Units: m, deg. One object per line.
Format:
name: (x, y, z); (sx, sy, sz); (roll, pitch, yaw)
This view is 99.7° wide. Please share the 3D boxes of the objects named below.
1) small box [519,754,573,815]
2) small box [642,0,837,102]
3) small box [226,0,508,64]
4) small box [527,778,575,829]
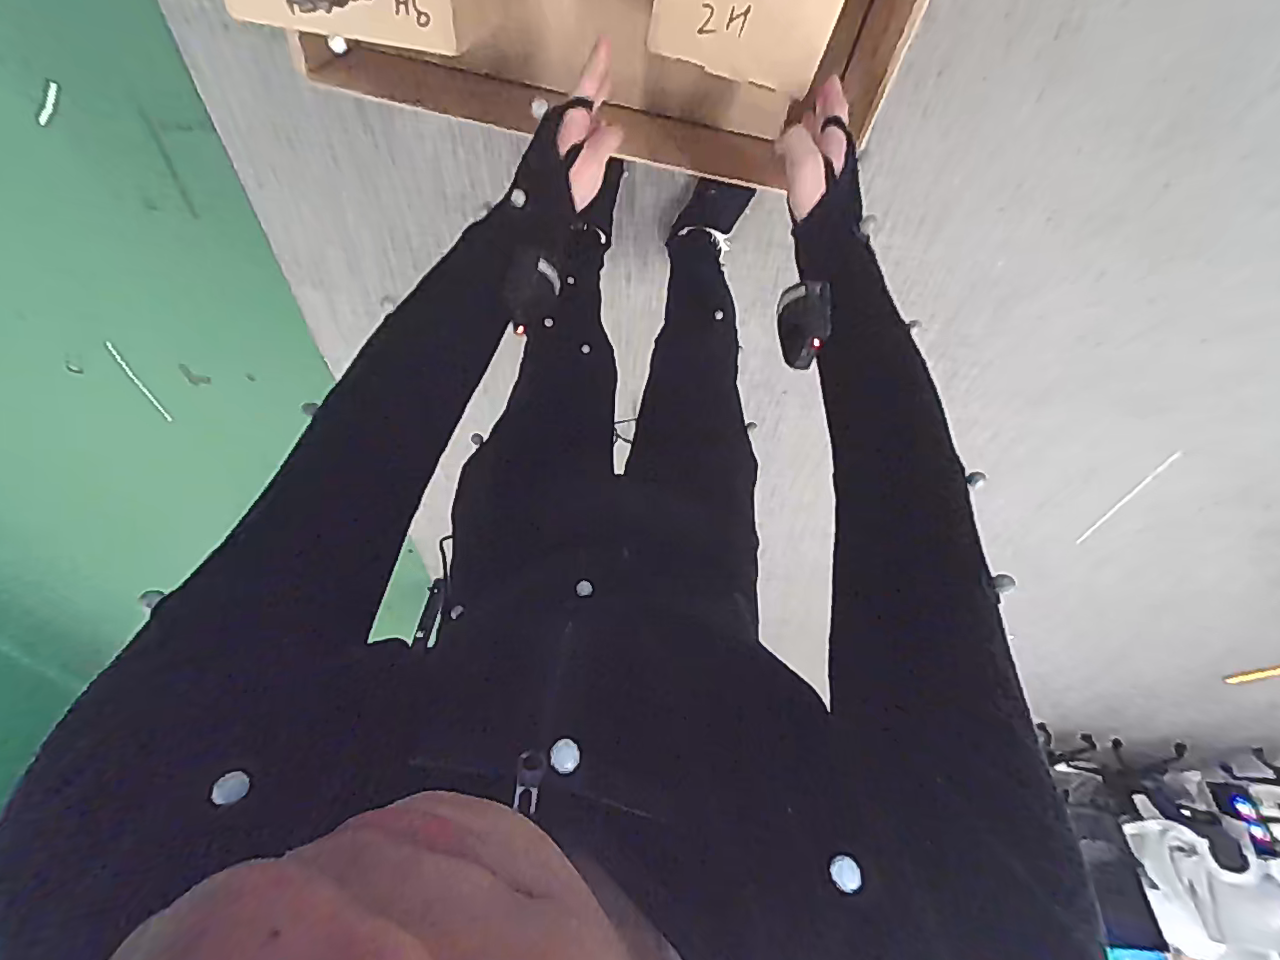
small box: (-0.353, 1.163, 2.065); (0.168, 0.176, 0.179); (4, 141, 2)
small box: (0.106, -0.510, 0.518); (0.168, 0.176, 0.179); (13, 140, -6)
small box: (-0.201, -0.440, 0.392); (0.168, 0.176, 0.179); (9, 139, -1)
small box: (-0.375, 1.373, 2.315); (0.168, 0.176, 0.179); (6, 138, 1)
